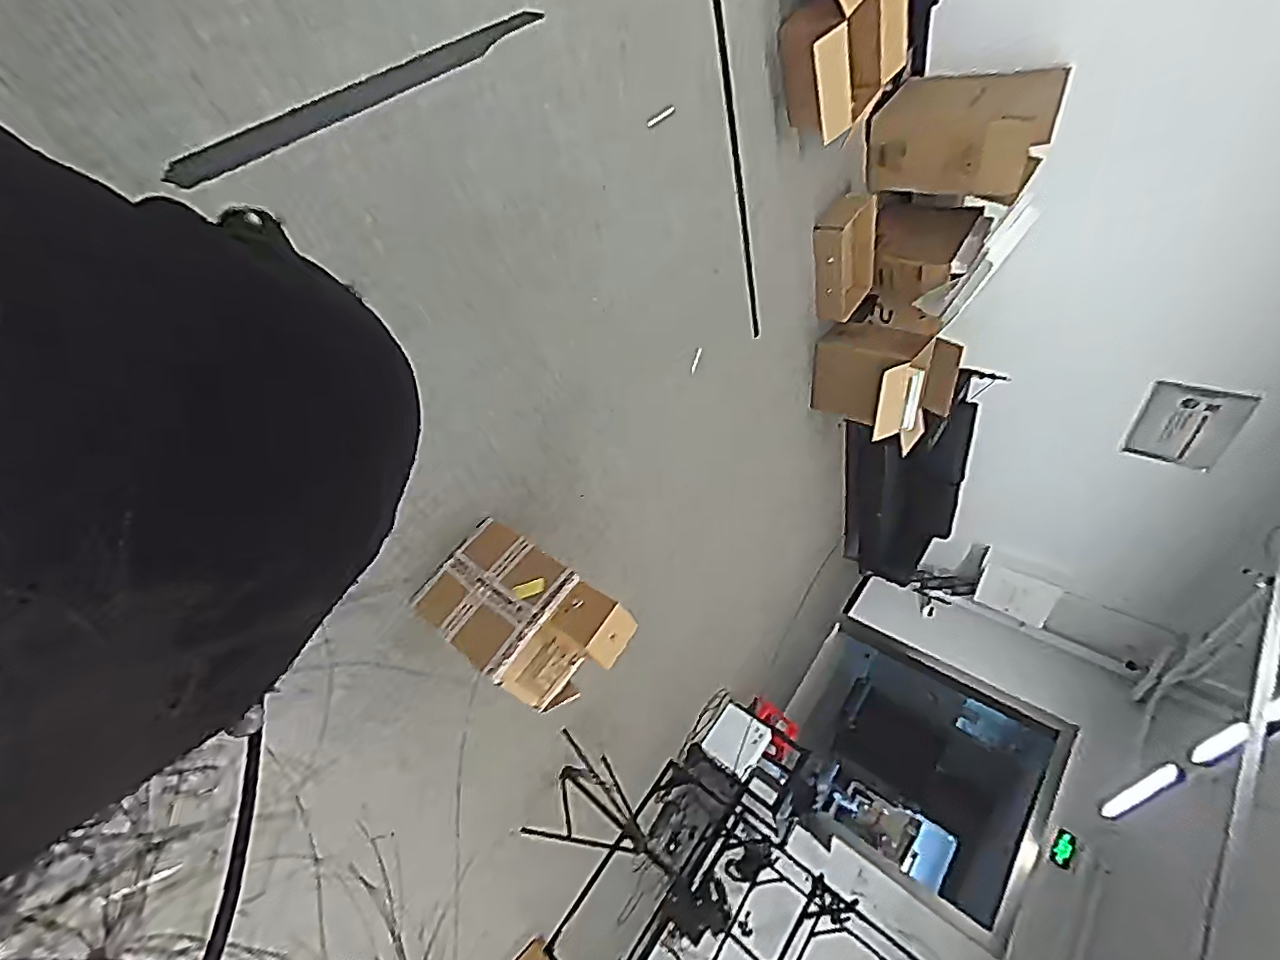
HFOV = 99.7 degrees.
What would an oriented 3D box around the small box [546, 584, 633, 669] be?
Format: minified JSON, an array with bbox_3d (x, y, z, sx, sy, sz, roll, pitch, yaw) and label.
[{"bbox_3d":[-0.157,0.451,1.681,0.168,0.176,0.179,-53,139,-21],"label":"small box"}]
